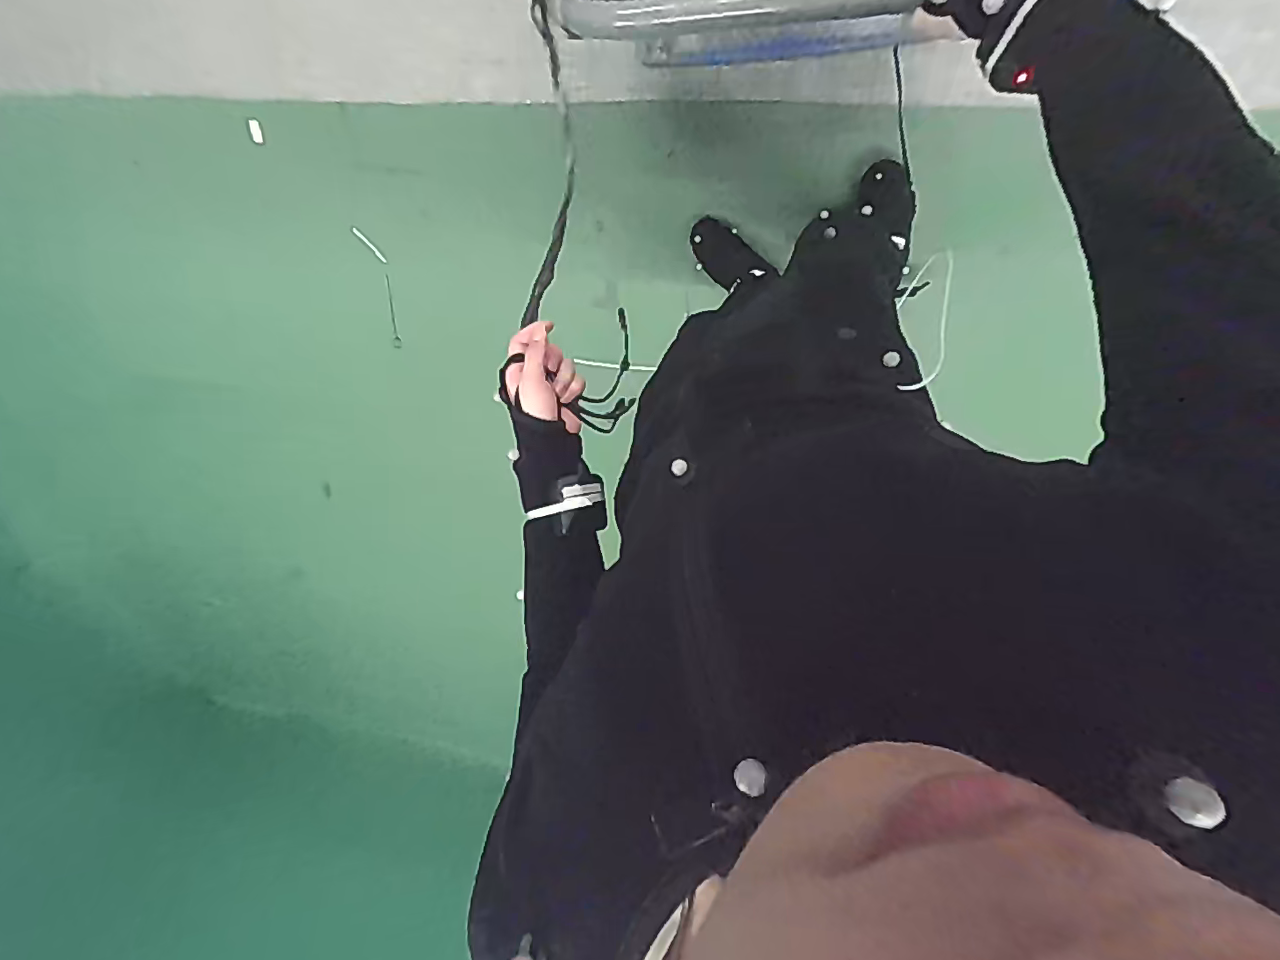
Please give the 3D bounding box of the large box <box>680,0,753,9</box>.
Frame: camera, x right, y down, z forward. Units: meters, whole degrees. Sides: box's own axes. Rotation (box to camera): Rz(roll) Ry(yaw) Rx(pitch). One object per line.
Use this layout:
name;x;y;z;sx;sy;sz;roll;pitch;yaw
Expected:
large box;0.186;-0.972;0.766;0.320;0.320;0.408;3;123;10
